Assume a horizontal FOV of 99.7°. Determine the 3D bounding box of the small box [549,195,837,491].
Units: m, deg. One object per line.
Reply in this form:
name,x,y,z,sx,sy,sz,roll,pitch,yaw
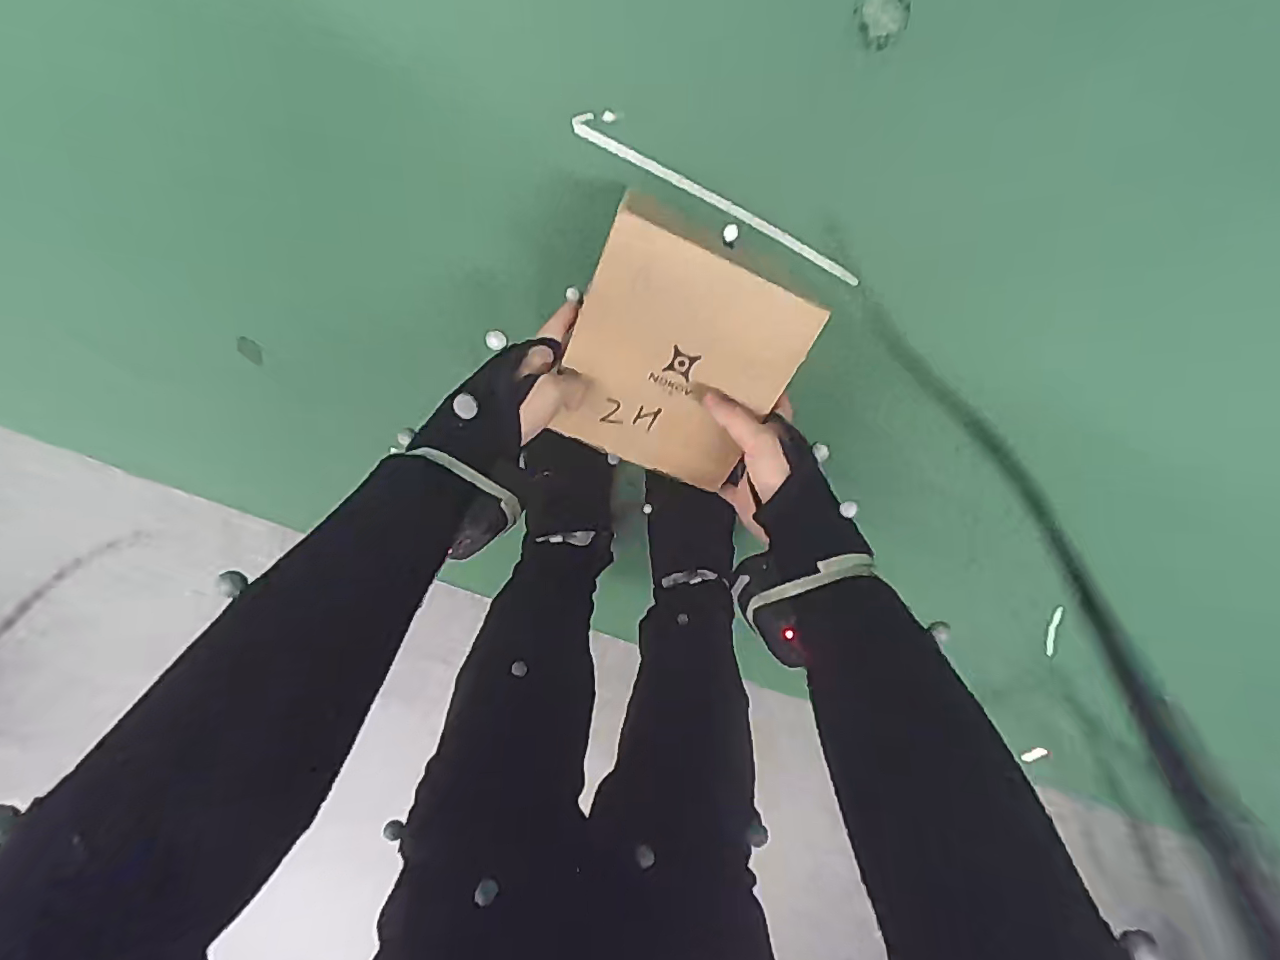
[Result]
small box,0.035,-0.127,0.478,0.168,0.176,0.179,22,121,-12
